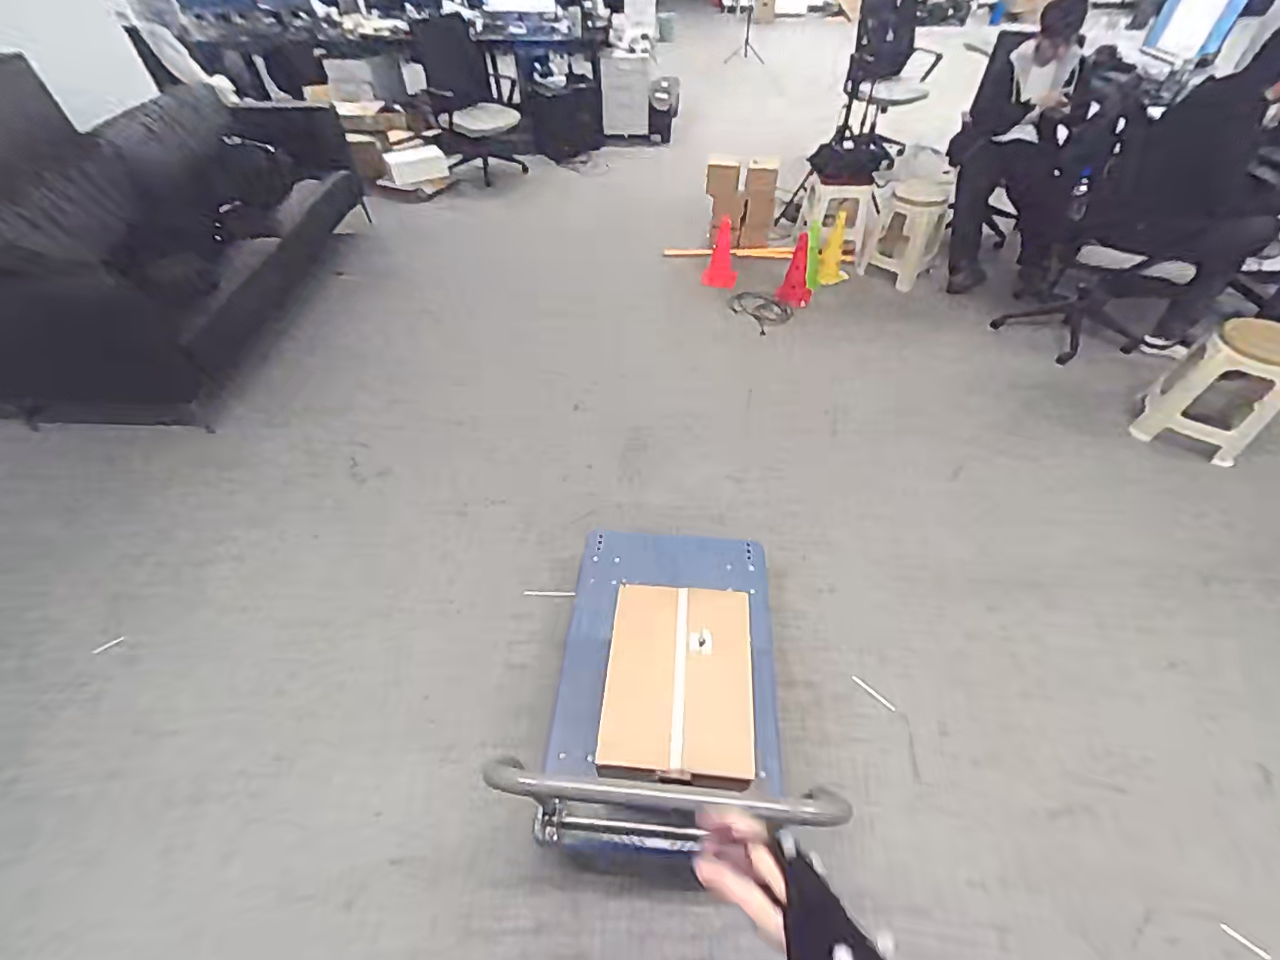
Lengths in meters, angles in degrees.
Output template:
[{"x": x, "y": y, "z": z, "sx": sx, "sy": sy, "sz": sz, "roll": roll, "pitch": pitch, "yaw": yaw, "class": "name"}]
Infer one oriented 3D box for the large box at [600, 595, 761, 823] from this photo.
[{"x": 0.095, "y": 0.530, "z": 1.262, "sx": 0.320, "sy": 0.320, "sz": 0.408, "roll": 4, "pitch": 47, "yaw": 4, "class": "large box"}]
